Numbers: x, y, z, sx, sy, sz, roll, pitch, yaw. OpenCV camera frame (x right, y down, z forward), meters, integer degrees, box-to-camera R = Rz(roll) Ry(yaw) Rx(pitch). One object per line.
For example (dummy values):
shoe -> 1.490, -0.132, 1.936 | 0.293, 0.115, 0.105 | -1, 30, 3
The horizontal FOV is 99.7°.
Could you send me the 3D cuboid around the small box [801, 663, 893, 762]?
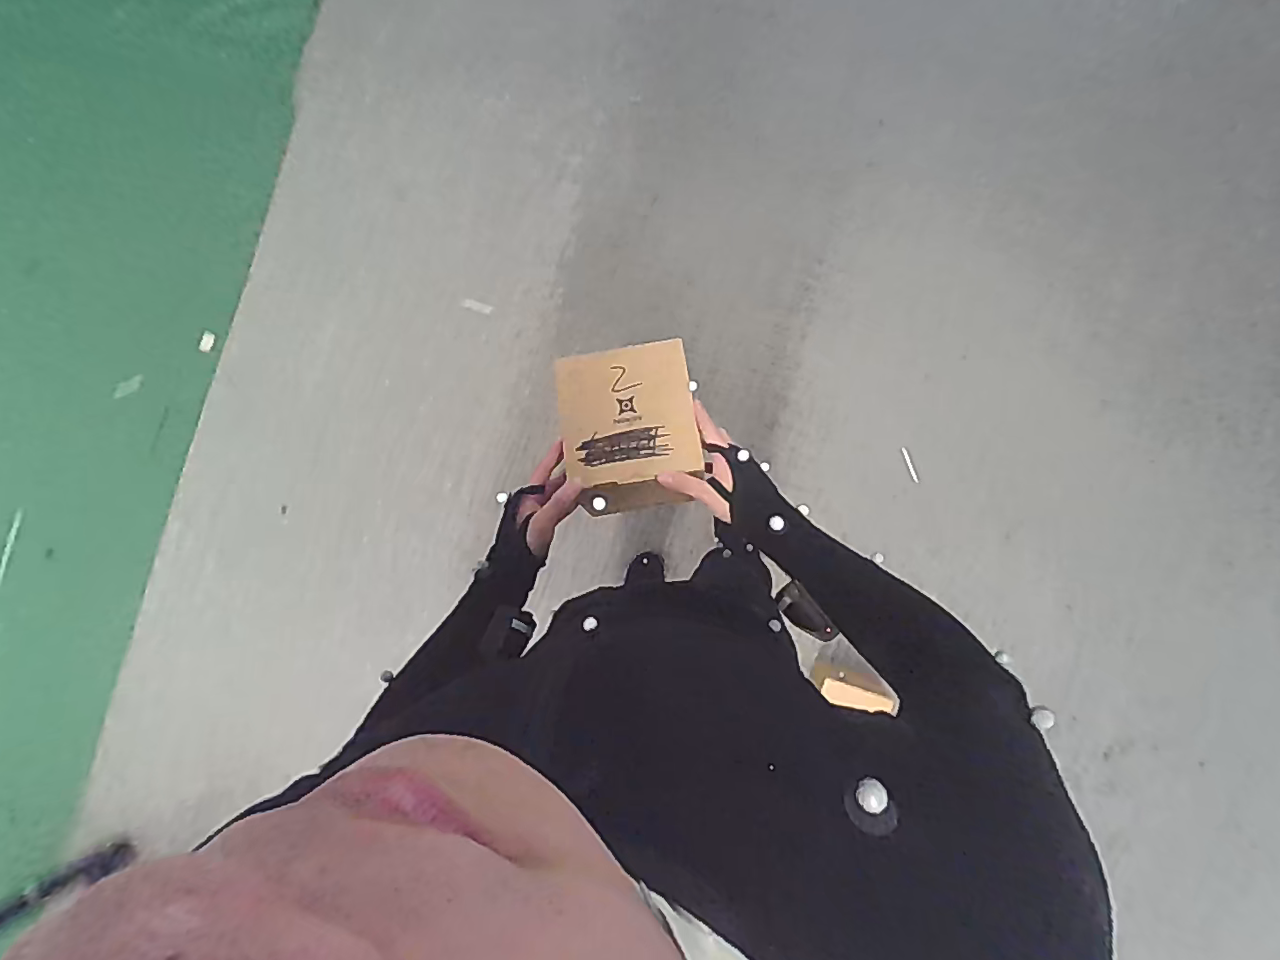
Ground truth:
small box -> 0.548, 0.614, 1.457 | 0.179, 0.176, 0.168 | 18, 93, 10
